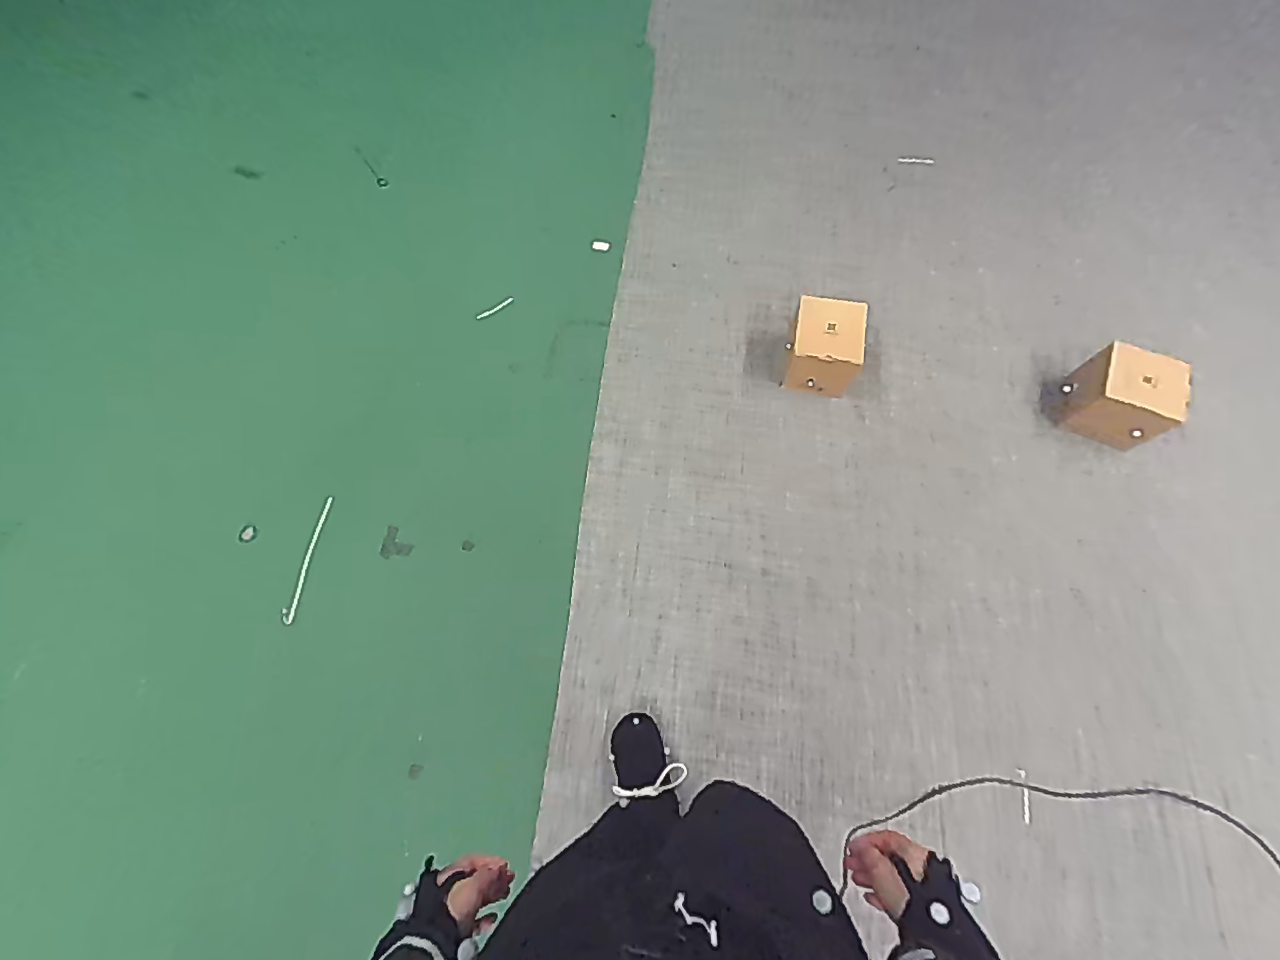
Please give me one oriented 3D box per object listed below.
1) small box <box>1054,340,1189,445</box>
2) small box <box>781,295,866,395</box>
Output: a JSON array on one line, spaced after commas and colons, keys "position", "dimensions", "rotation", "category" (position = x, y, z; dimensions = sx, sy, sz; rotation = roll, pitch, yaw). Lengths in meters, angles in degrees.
[{"position": [1.171, -0.206, 1.323], "dimensions": [0.179, 0.176, 0.168], "rotation": [21, 71, 10], "category": "small box"}, {"position": [0.468, -0.344, 1.396], "dimensions": [0.168, 0.176, 0.179], "rotation": [9, 72, 5], "category": "small box"}]
